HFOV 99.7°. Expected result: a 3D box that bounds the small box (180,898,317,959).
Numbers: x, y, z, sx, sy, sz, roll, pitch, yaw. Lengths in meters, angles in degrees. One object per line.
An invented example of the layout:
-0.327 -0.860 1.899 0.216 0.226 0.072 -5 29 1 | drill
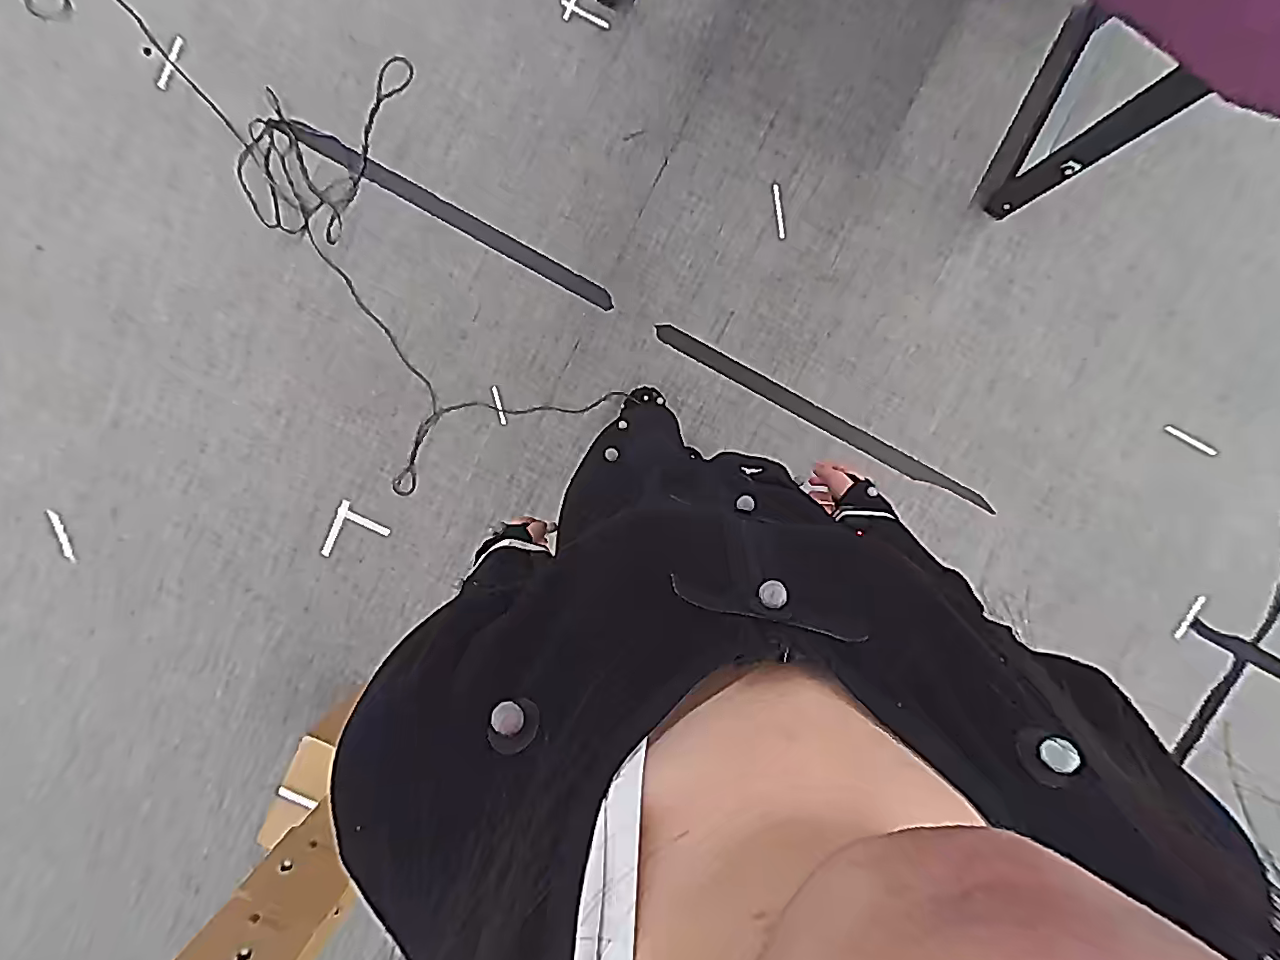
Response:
-0.666 0.839 0.878 0.168 0.176 0.179 19 95 0 | small box

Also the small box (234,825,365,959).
-0.665 0.818 1.042 0.168 0.176 0.179 23 96 0 | small box

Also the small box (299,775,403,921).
-0.660 0.809 1.203 0.168 0.176 0.179 24 95 -2 | small box
